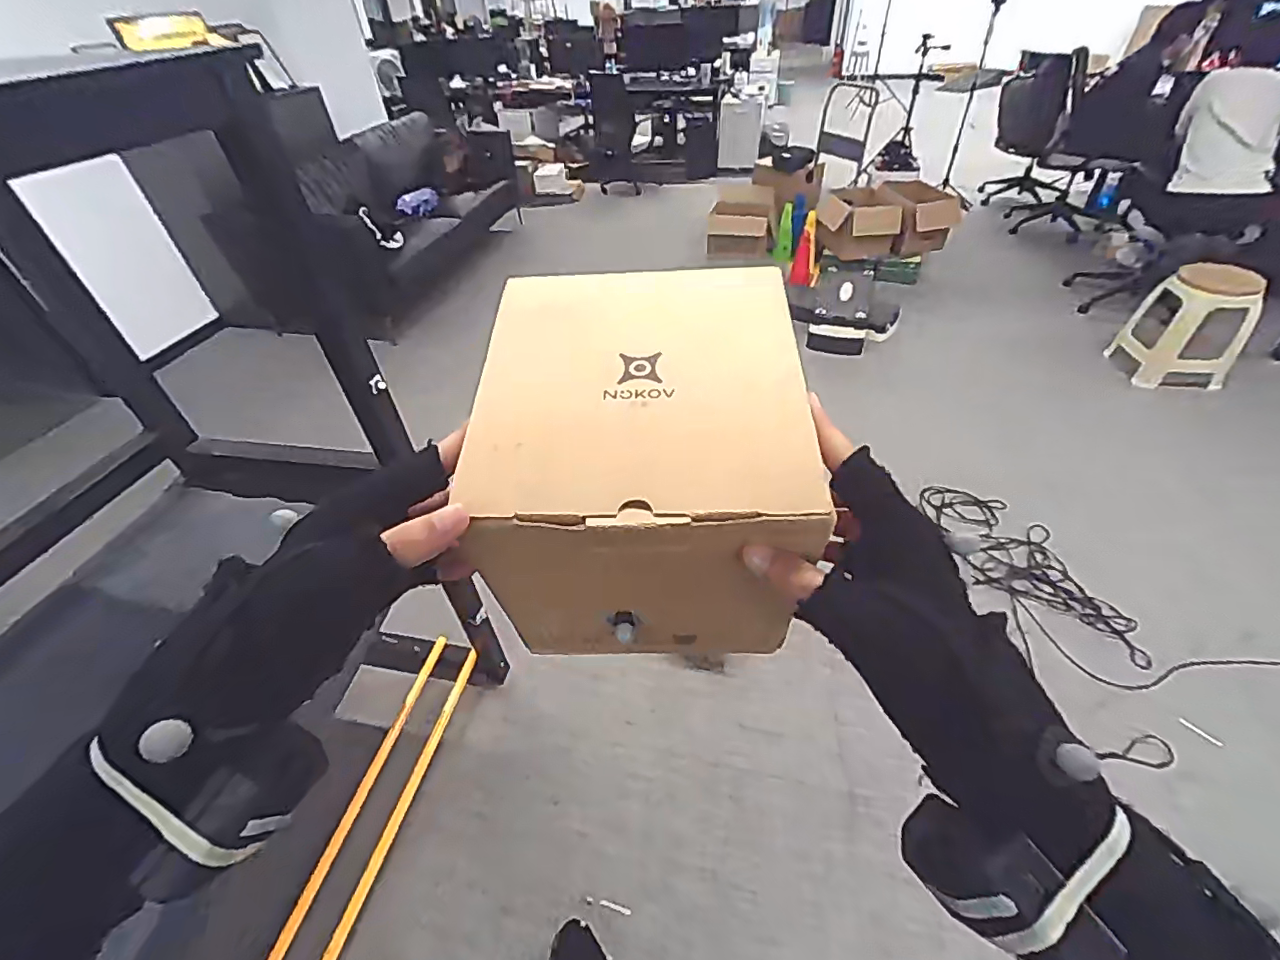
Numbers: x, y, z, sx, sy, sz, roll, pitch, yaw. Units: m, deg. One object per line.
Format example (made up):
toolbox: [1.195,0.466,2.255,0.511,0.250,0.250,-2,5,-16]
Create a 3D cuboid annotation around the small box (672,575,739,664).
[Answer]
small box: [0.197,0.419,1.623,0.168,0.176,0.179,10,45,16]
